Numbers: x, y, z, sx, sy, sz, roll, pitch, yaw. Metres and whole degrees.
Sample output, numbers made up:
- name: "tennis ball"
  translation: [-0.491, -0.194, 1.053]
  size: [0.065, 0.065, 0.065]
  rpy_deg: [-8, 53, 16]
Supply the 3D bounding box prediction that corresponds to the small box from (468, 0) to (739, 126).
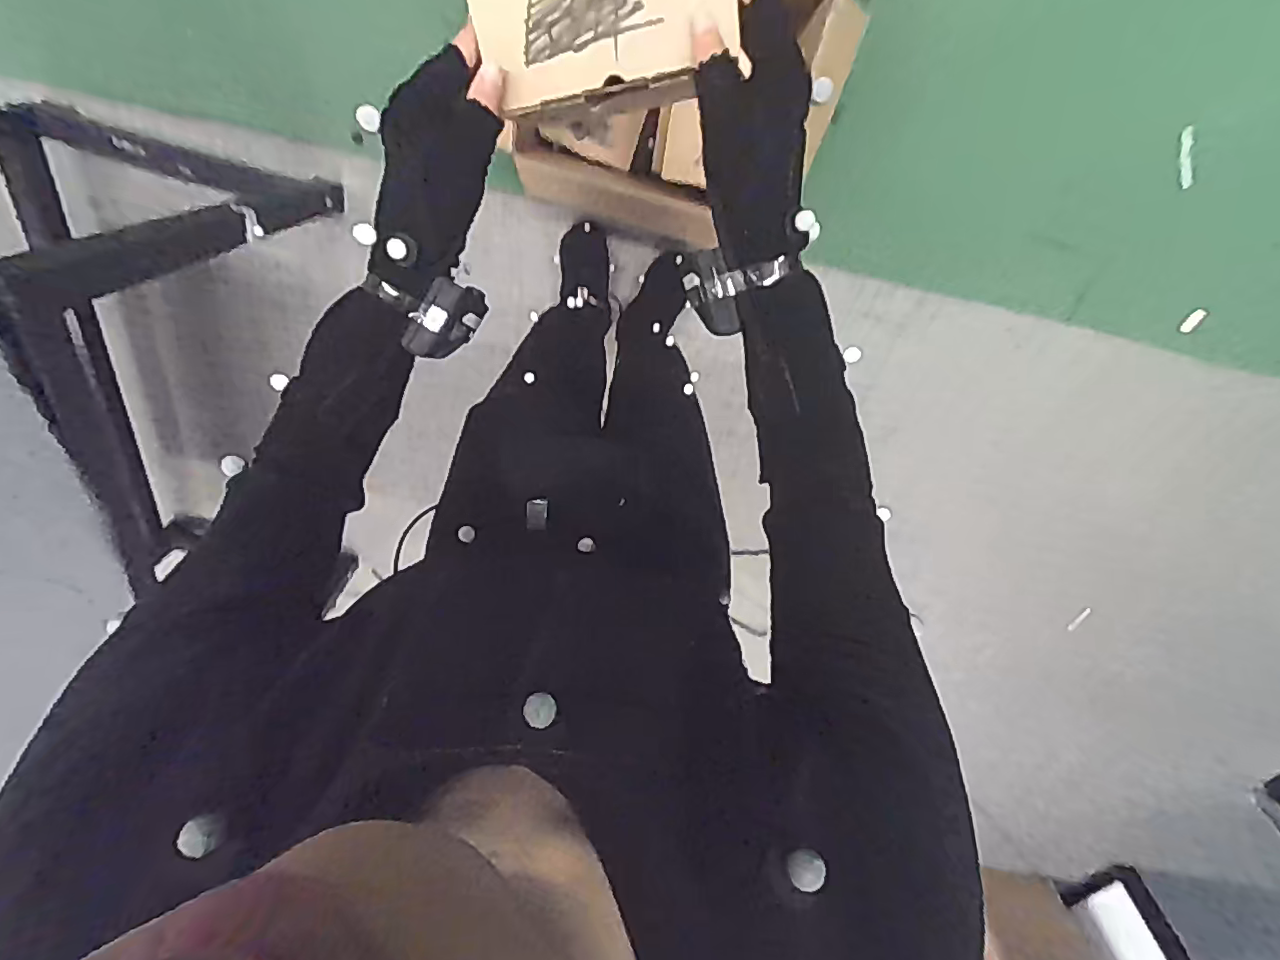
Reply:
- name: "small box"
  translation: [-0.023, -0.362, 0.376]
  size: [0.168, 0.176, 0.179]
  rpy_deg: [-6, 119, 8]
